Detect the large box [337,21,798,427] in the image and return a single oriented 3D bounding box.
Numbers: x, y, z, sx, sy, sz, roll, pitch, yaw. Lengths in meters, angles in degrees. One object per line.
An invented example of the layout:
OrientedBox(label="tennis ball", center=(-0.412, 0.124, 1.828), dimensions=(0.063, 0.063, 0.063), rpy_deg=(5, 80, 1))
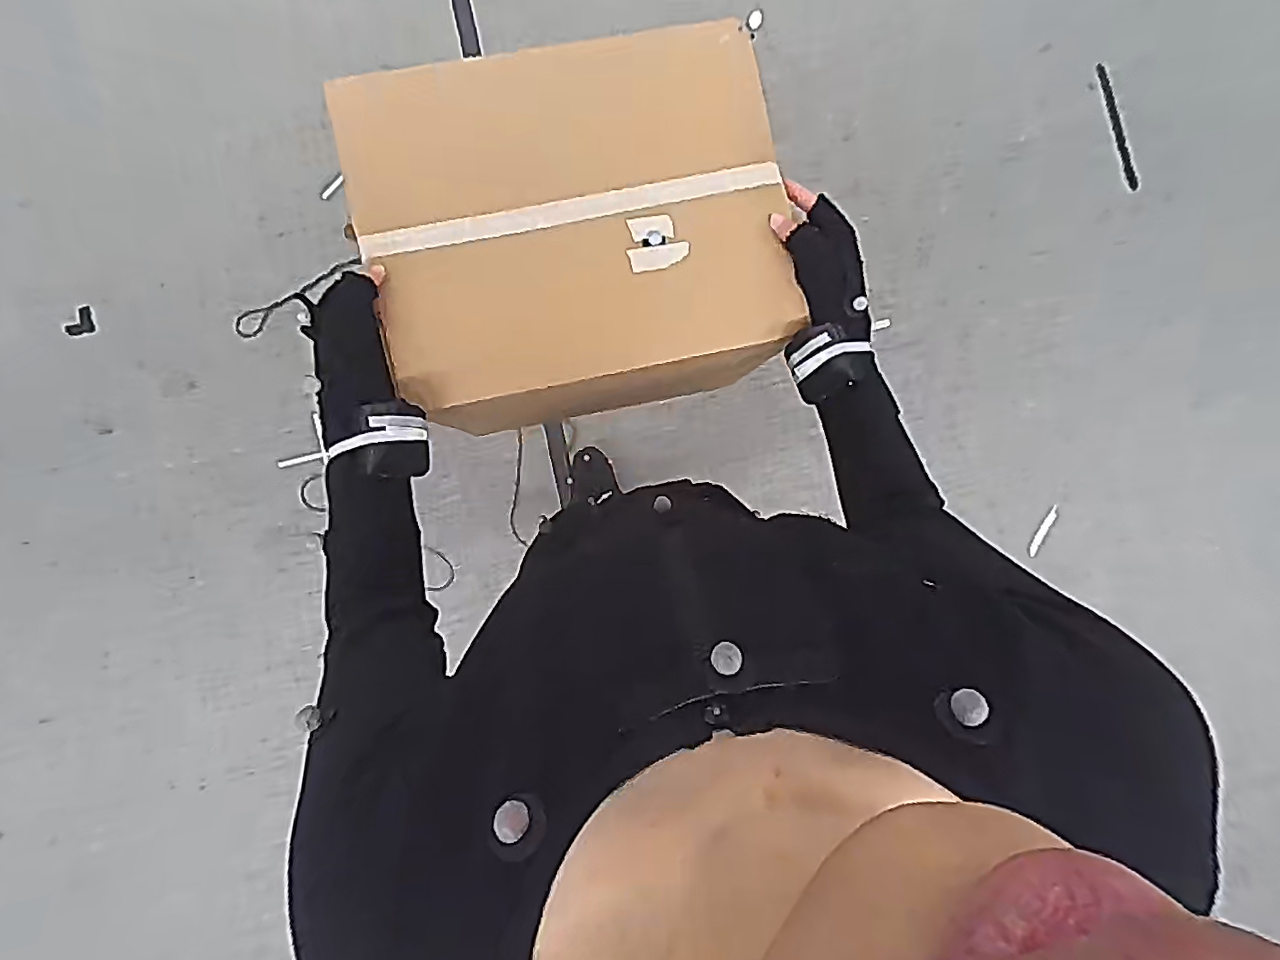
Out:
OrientedBox(label="large box", center=(-0.077, -0.268, 0.677), dimensions=(0.408, 0.320, 0.320), rpy_deg=(-13, 93, -5))
